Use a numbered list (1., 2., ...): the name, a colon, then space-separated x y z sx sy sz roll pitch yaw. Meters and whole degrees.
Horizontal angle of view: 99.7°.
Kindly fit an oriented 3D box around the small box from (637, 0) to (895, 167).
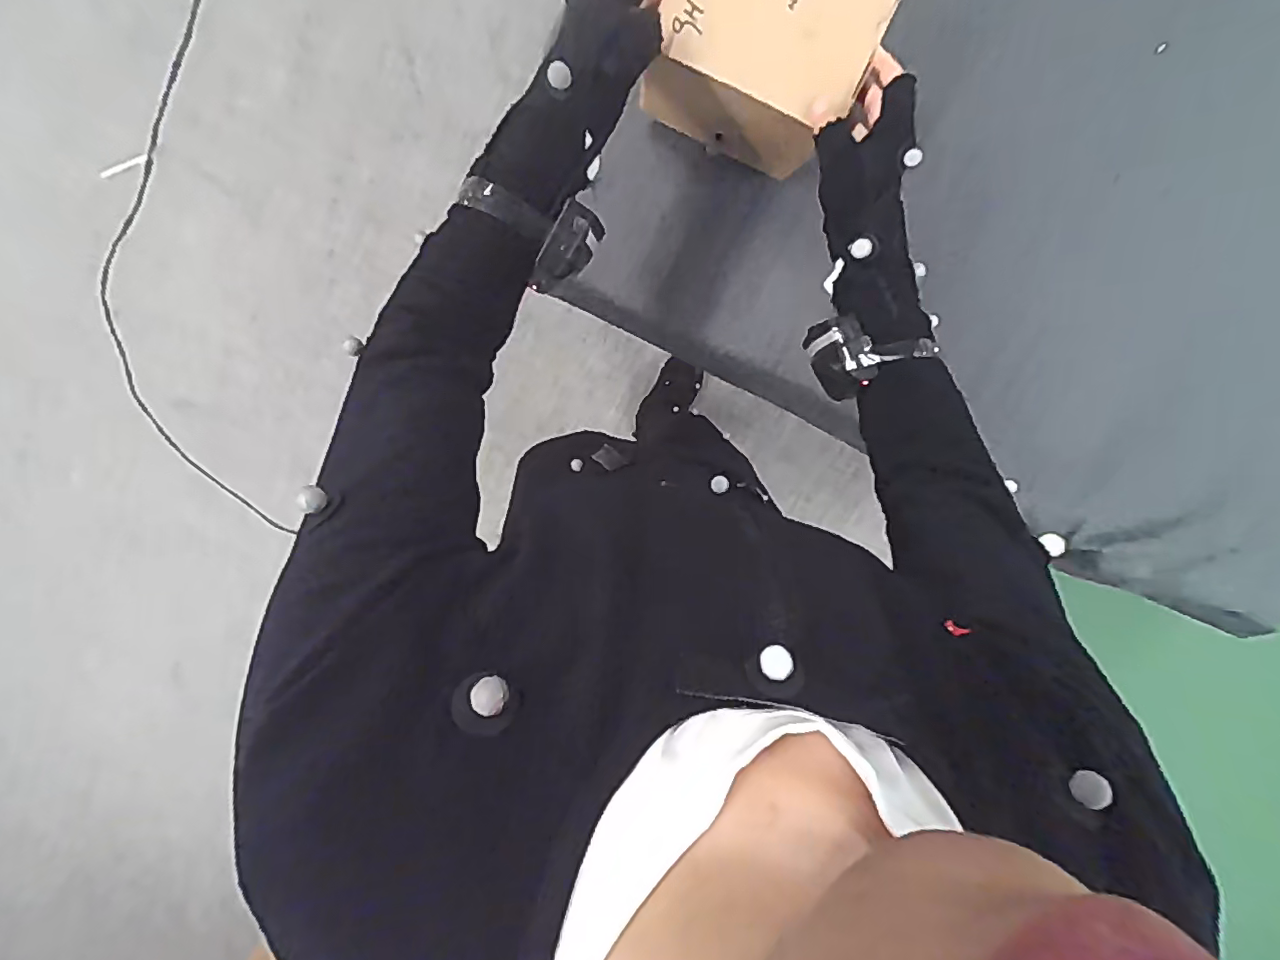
1. small box: 0.108 -0.415 0.497 0.179 0.176 0.168 20 107 -10
